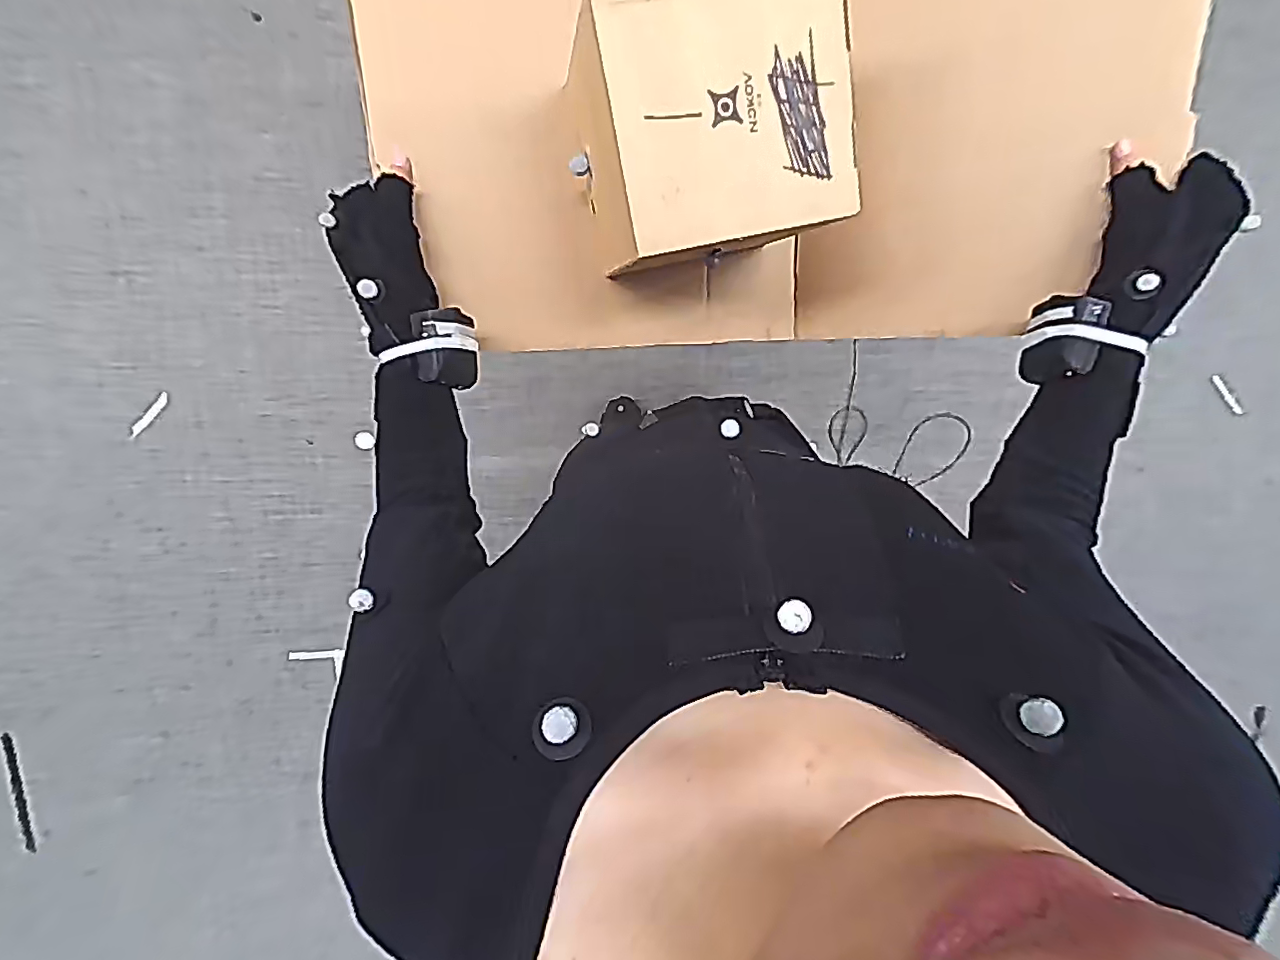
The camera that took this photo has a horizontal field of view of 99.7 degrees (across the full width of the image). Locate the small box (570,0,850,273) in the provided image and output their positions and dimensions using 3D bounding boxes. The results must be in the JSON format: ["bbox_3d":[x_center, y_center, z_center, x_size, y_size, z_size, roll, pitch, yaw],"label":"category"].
[{"bbox_3d":[0.048,-0.278,0.453,0.179,0.176,0.168,-14,108,-8],"label":"small box"}]
